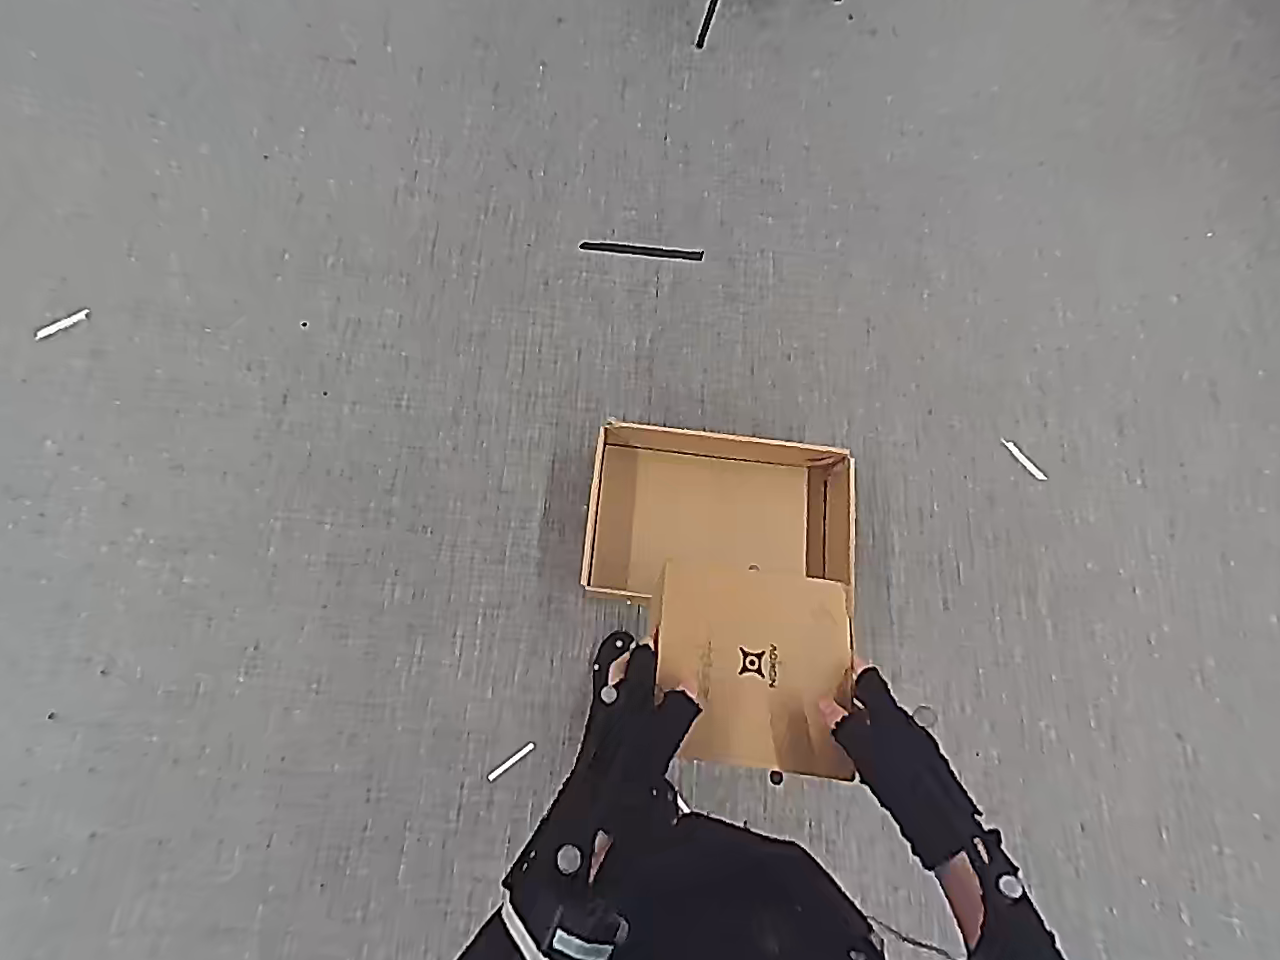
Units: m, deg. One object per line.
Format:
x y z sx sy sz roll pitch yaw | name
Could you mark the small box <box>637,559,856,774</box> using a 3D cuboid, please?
0.096 0.189 0.548 0.179 0.176 0.168 7 66 -1 | small box
